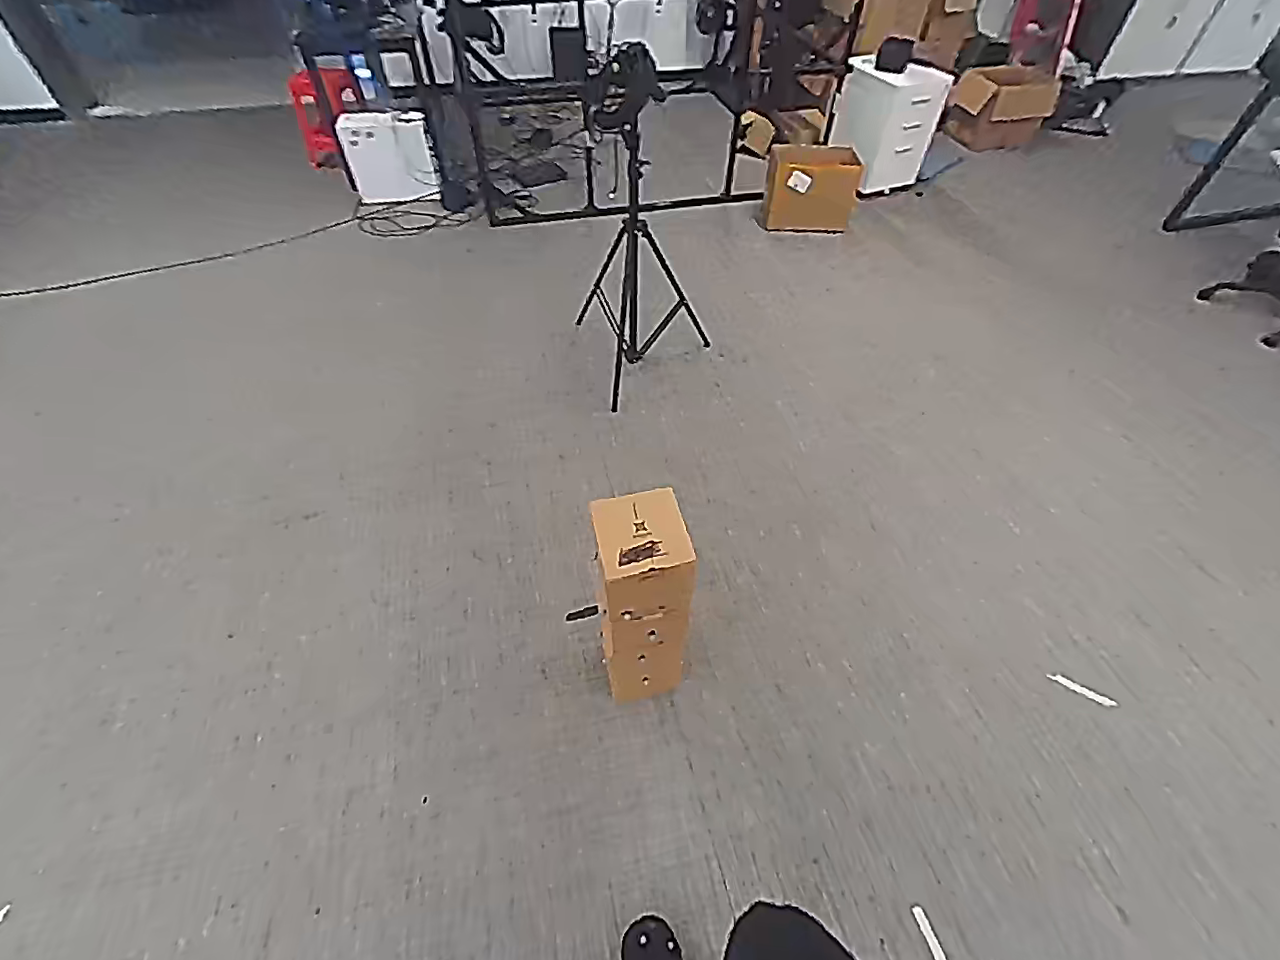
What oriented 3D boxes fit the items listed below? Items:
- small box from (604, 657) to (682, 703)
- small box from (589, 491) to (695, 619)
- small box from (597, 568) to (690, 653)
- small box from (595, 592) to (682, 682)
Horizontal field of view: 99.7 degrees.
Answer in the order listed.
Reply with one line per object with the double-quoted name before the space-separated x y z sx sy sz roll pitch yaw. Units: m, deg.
"small box" -0.001 0.464 1.418 0.179 0.176 0.168 -11 52 -9
"small box" 0.001 0.150 1.038 0.168 0.176 0.179 -10 51 -8
"small box" 0.004 0.256 1.164 0.168 0.176 0.179 -9 52 -8
"small box" -0.005 0.363 1.288 0.179 0.176 0.168 -9 52 -8
